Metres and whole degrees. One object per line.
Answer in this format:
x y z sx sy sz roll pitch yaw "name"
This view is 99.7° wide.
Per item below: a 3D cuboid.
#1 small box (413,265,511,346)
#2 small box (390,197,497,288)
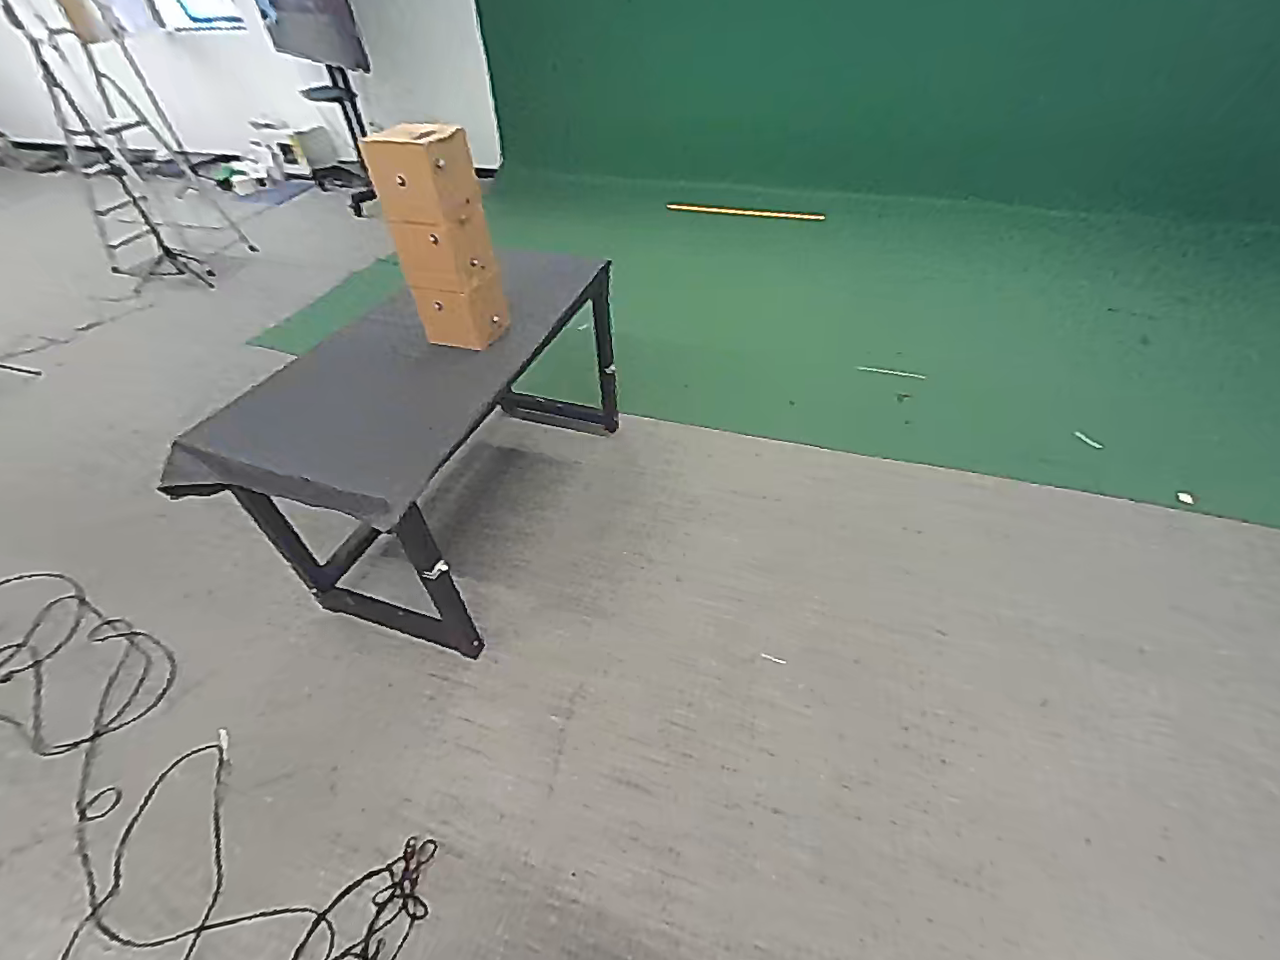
-0.482 -0.489 1.494 0.179 0.176 0.168 13 47 15 "small box"
-0.494 -0.606 1.382 0.179 0.176 0.168 13 46 15 "small box"
